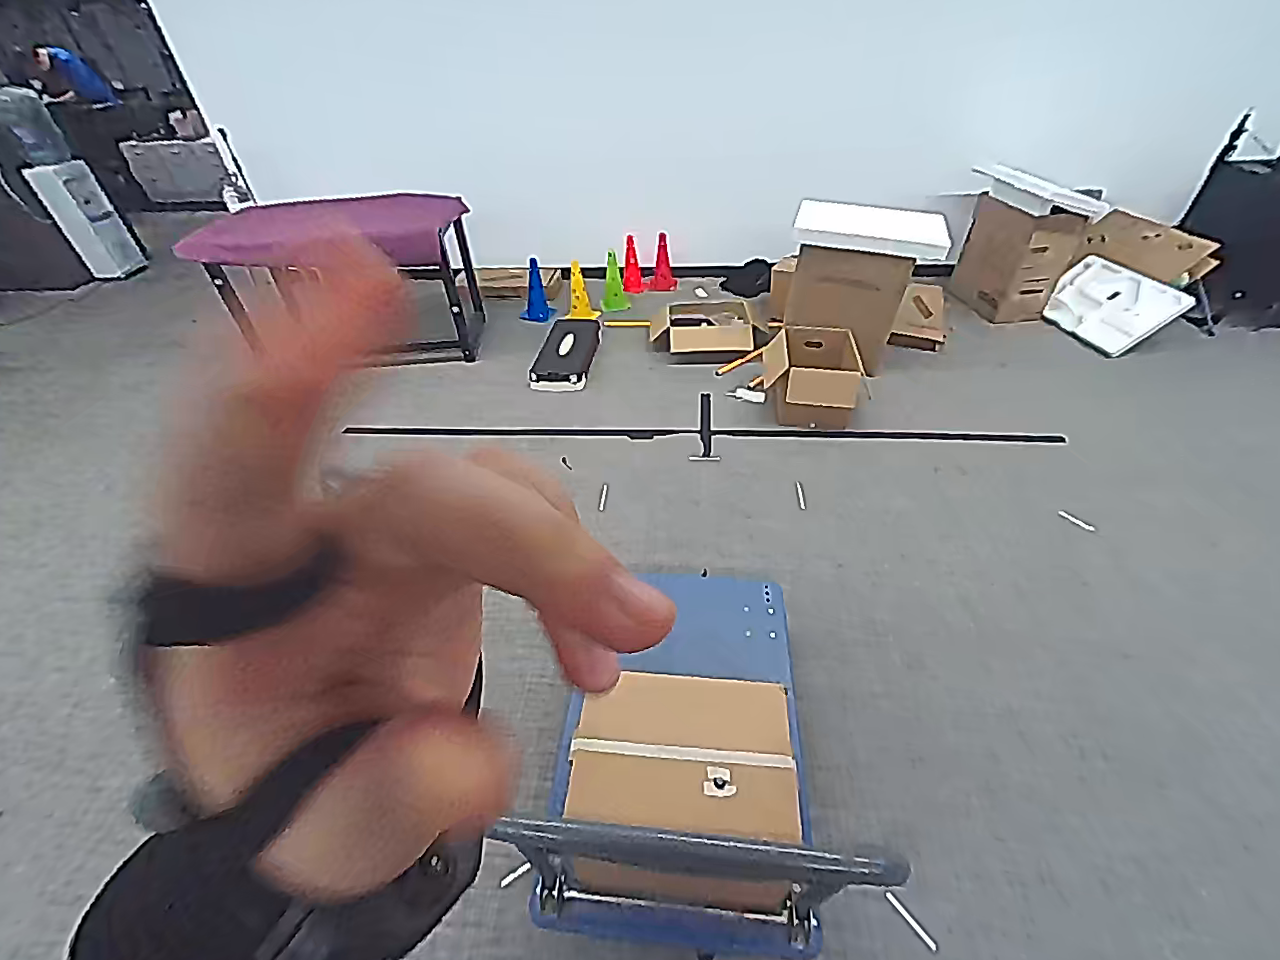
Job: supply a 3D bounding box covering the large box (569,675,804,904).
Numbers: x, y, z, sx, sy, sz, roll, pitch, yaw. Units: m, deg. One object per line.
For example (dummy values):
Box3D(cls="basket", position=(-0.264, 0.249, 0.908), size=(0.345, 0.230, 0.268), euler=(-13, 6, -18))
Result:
Box3D(cls="large box", position=(0.085, 0.631, 1.109), size=(0.408, 0.320, 0.320), euler=(3, 42, 4))
